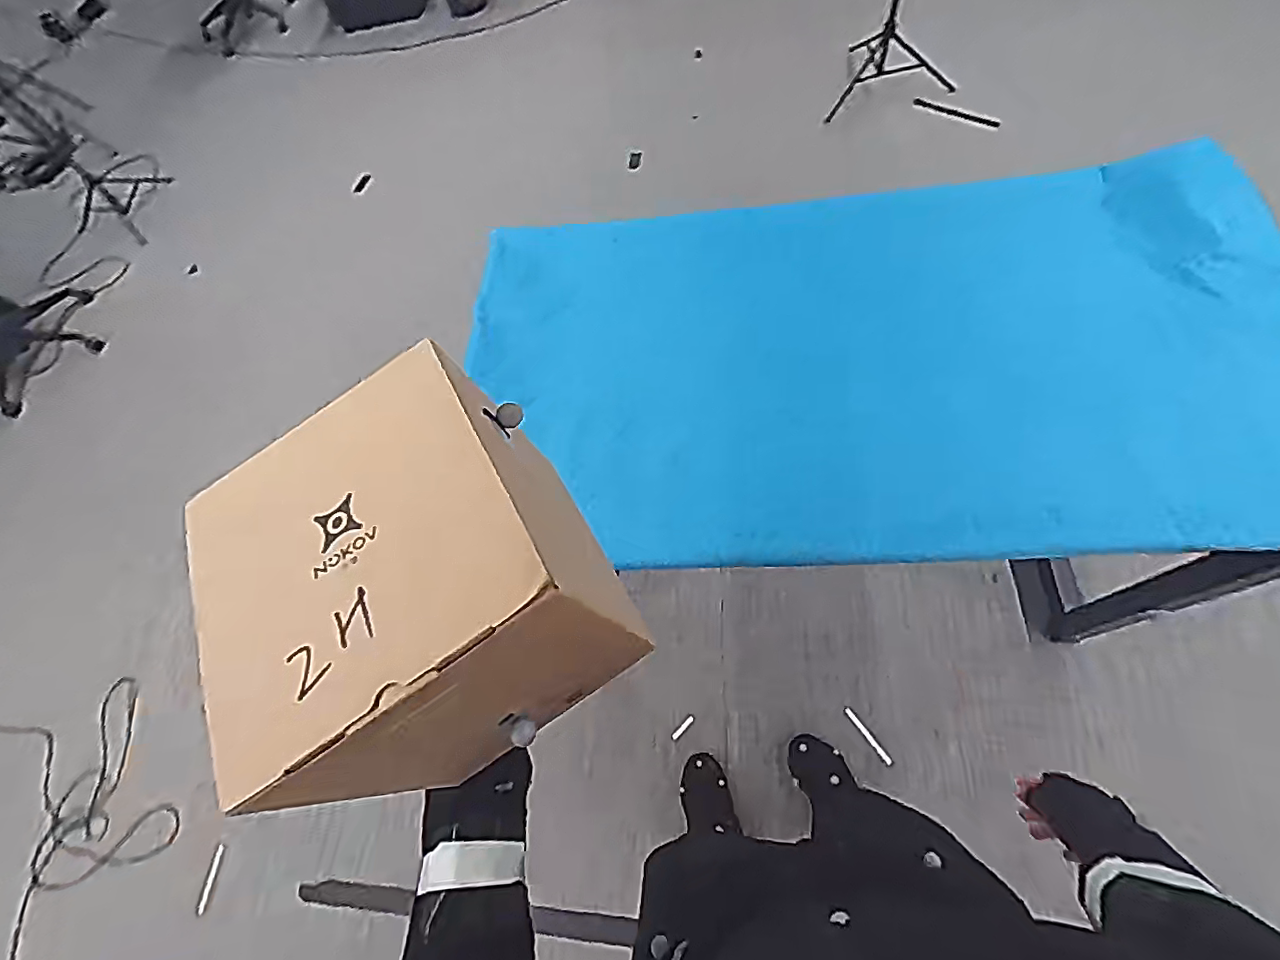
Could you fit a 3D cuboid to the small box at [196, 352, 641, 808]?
[{"bbox_3d":[-0.122,0.064,0.333,0.168,0.176,0.179,-31,63,3],"label":"small box"}]
